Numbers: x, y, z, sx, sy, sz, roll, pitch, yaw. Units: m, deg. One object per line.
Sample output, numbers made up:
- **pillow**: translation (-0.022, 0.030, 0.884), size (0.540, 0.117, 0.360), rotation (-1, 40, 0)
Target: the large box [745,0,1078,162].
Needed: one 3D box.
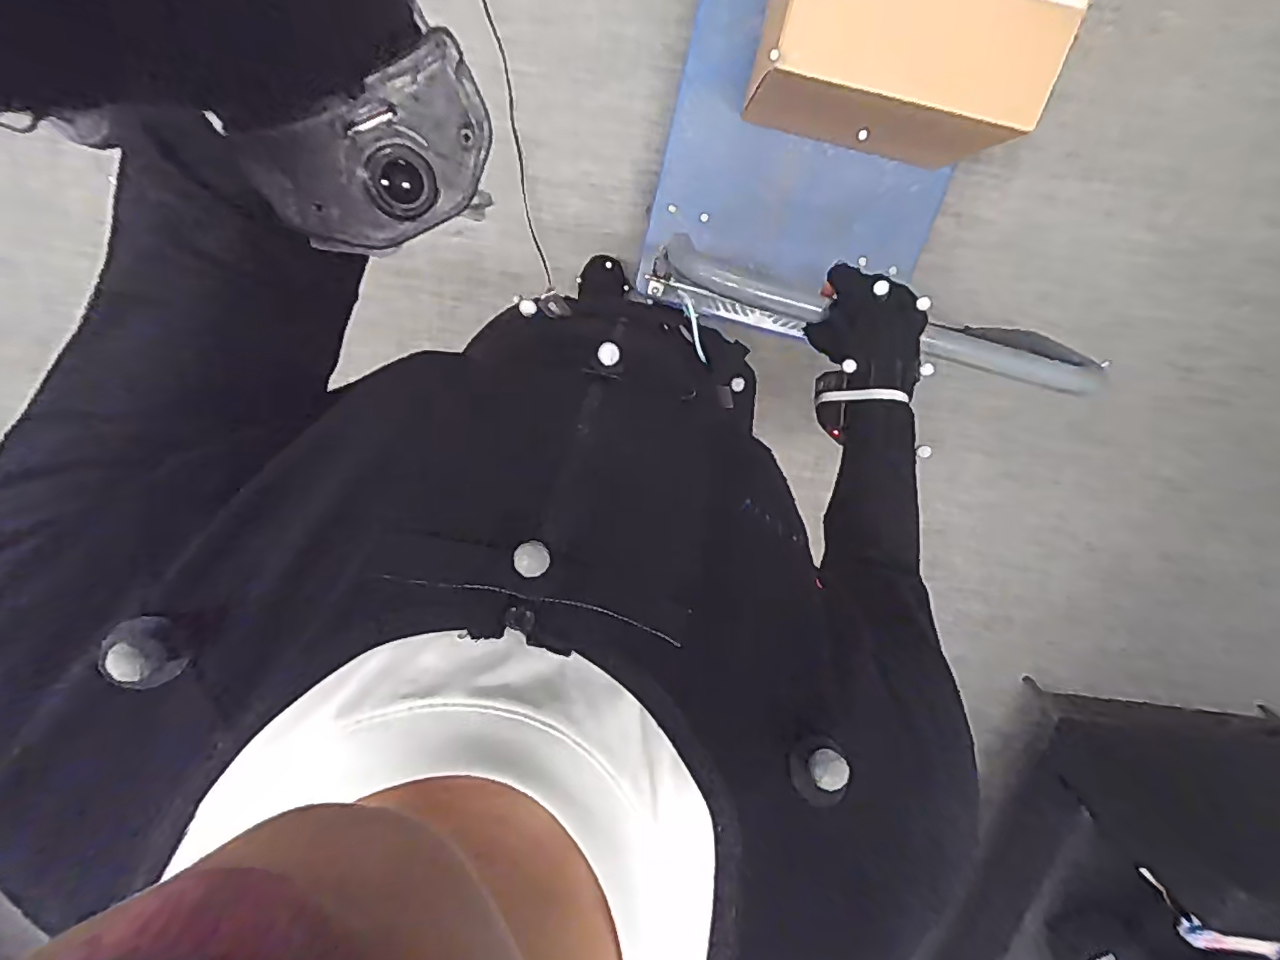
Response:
- **large box**: translation (0.426, -0.758, 0.892), size (0.408, 0.320, 0.320), rotation (12, 110, -3)
